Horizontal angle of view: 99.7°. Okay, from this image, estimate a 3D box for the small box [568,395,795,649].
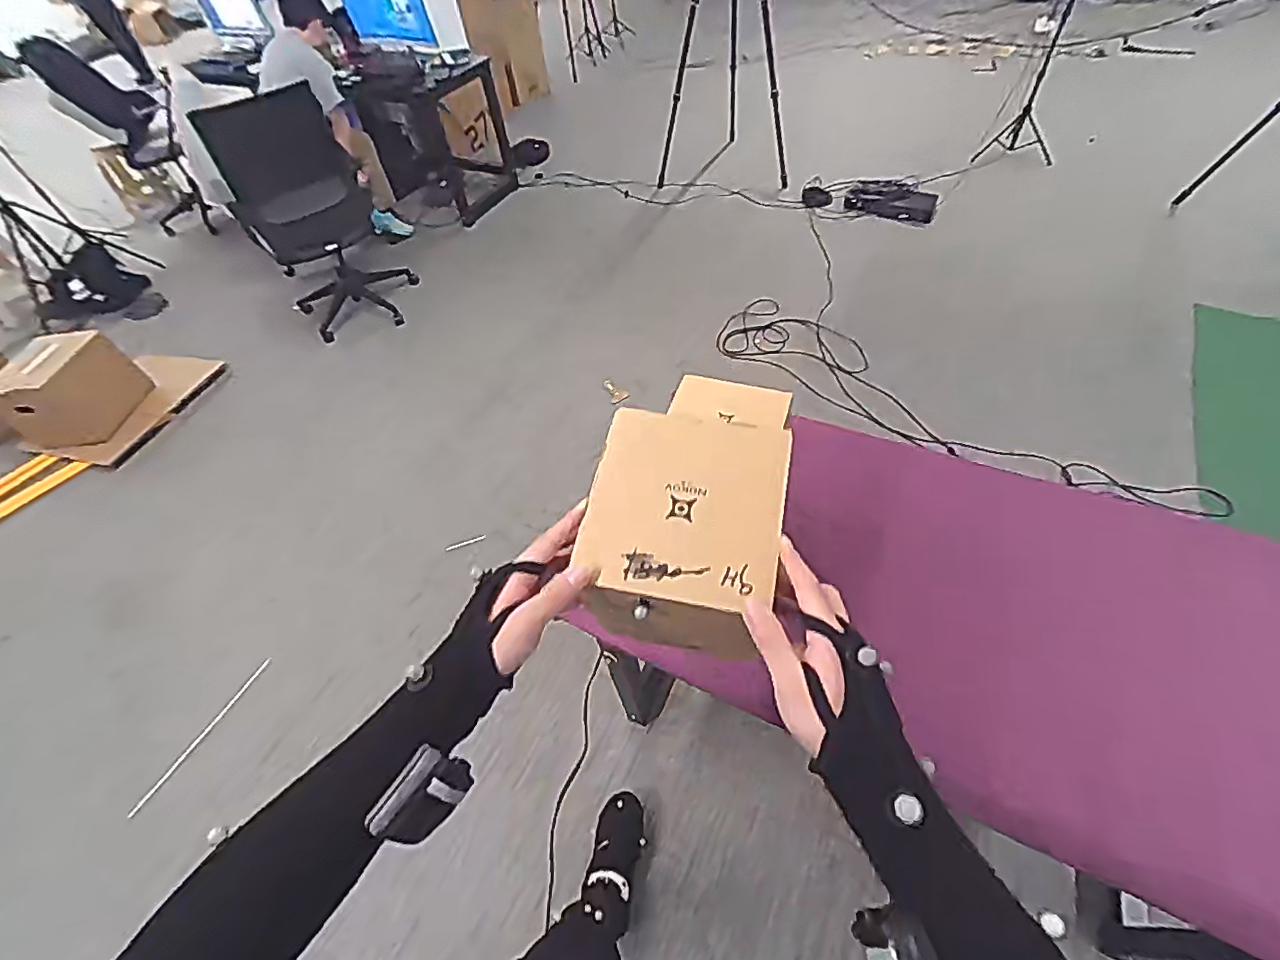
[{"bbox_3d":[0.048,0.045,0.525,0.168,0.176,0.179,9,62,13],"label":"small box"}]

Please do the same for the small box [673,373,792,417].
[{"bbox_3d":[0.121,-0.030,0.815,0.168,0.176,0.179,13,55,17],"label":"small box"}]
